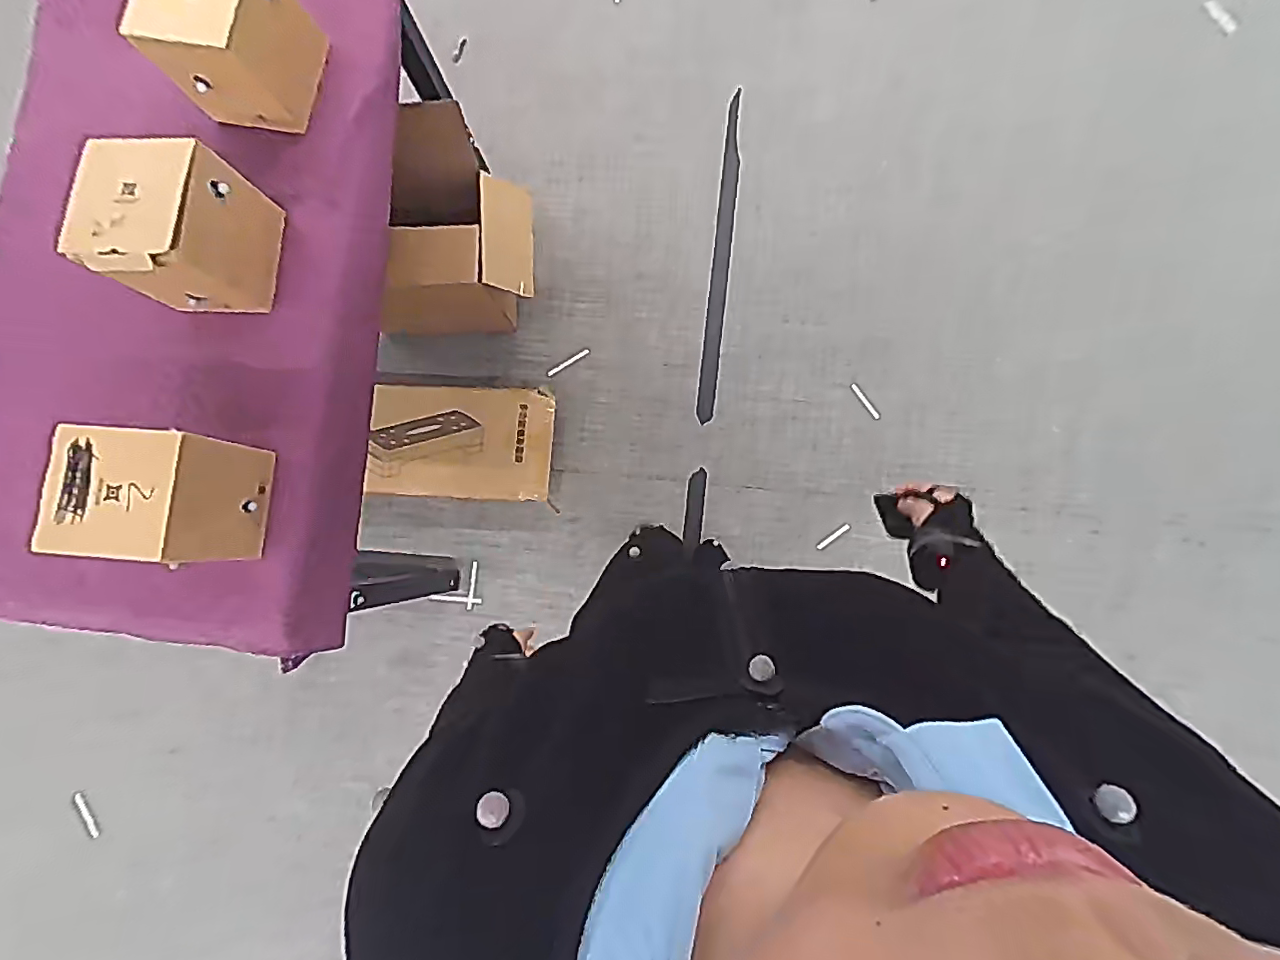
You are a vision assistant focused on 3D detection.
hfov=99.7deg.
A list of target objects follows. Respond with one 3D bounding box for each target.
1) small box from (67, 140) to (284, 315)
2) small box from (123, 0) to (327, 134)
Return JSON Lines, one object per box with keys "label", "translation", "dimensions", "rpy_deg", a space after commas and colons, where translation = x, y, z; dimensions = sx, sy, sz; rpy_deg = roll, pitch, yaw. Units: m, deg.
{"label": "small box", "translation": [-0.669, -0.364, 0.801], "dimensions": [0.168, 0.176, 0.179], "rpy_deg": [3, 83, 6]}
{"label": "small box", "translation": [-0.625, -0.678, 0.838], "dimensions": [0.168, 0.176, 0.179], "rpy_deg": [10, 83, 5]}
